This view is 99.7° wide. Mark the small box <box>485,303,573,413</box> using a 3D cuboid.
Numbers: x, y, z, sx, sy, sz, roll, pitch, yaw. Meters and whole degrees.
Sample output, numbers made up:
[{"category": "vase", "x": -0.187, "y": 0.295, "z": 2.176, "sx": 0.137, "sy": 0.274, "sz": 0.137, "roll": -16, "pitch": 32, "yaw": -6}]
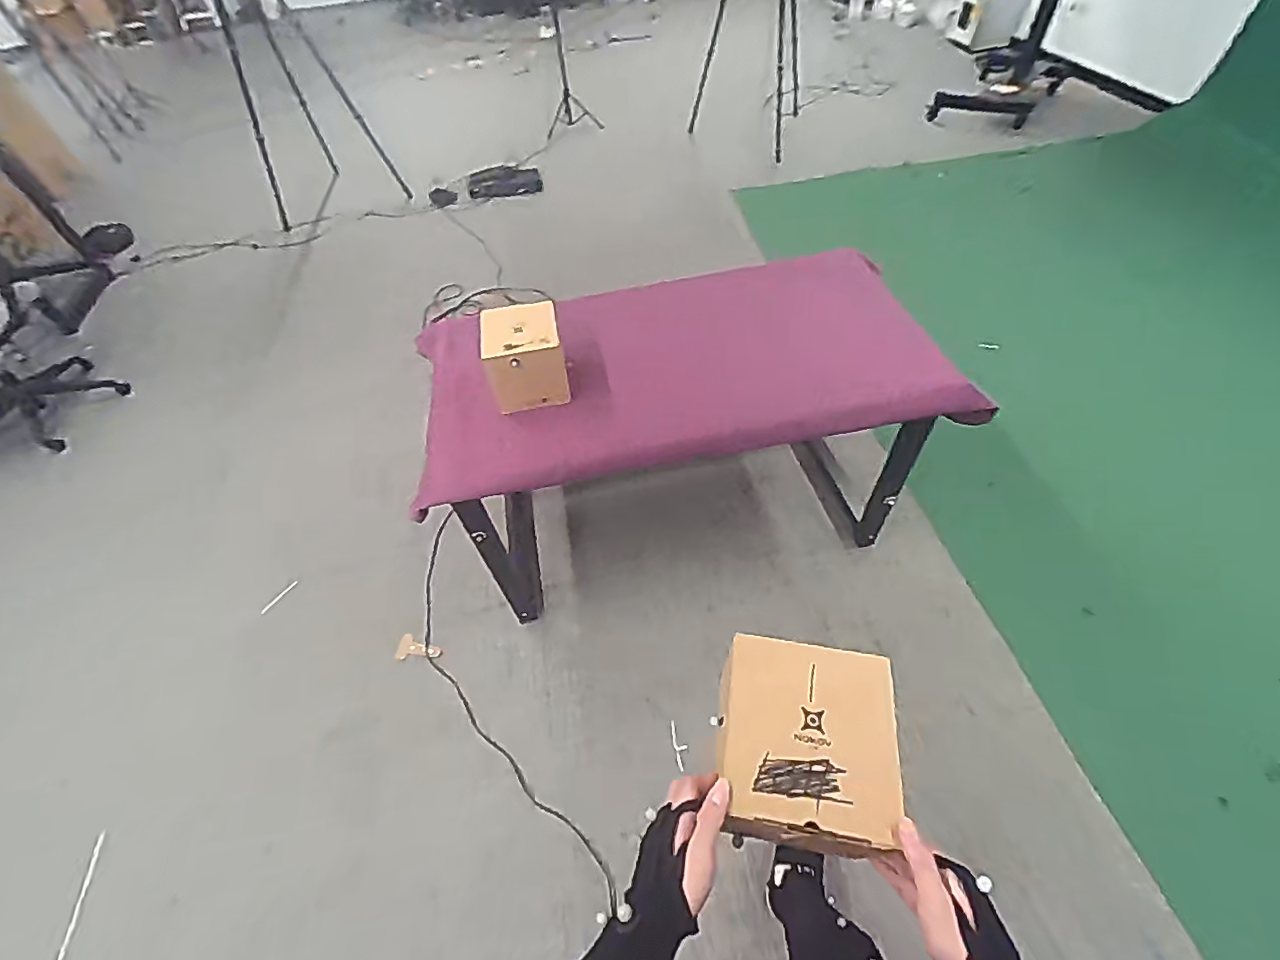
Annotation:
[{"category": "small box", "x": -0.255, "y": -0.281, "z": 1.254, "sx": 0.168, "sy": 0.176, "sz": 0.179, "roll": -10, "pitch": 51, "yaw": -3}]

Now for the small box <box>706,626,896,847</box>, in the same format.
[{"category": "small box", "x": 0.166, "y": 0.288, "z": 0.601, "sx": 0.168, "sy": 0.176, "sz": 0.179, "roll": 8, "pitch": 52, "yaw": 7}]
